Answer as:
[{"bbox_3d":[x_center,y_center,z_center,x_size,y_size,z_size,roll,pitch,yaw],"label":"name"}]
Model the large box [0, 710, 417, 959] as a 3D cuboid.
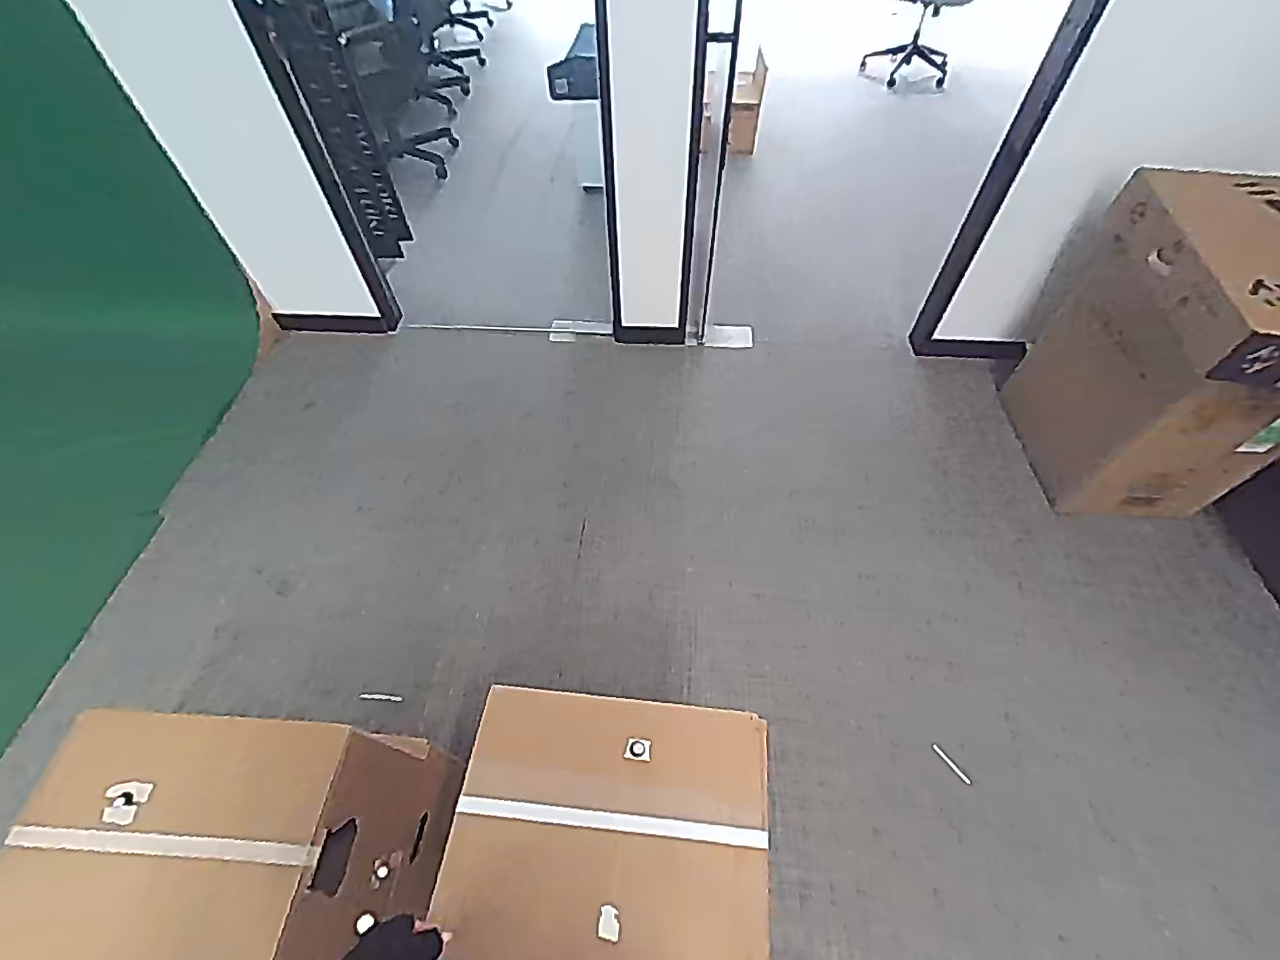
[{"bbox_3d":[-0.618,0.549,0.816,0.408,0.320,0.320,2,56,3],"label":"large box"}]
